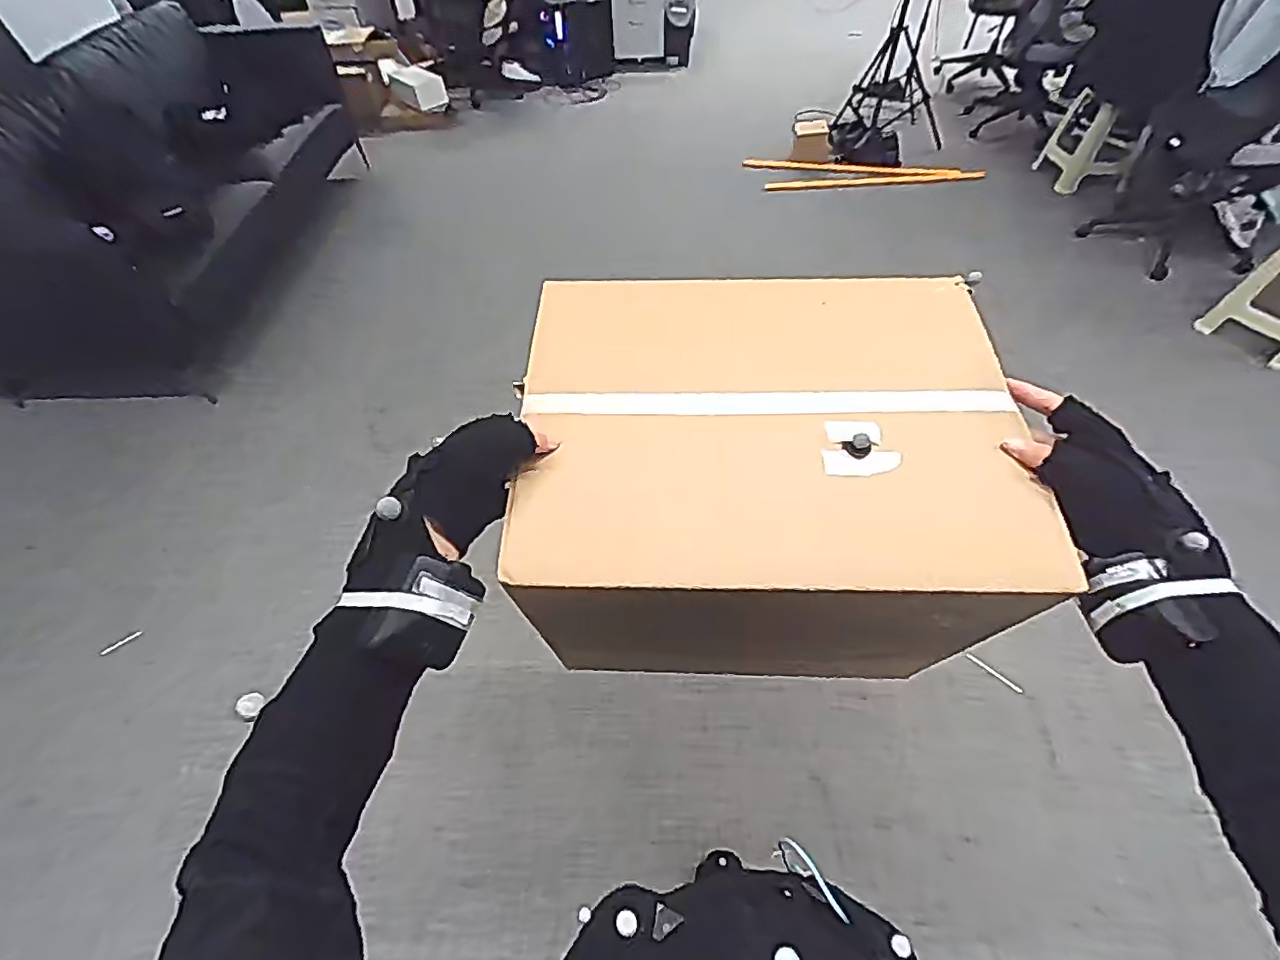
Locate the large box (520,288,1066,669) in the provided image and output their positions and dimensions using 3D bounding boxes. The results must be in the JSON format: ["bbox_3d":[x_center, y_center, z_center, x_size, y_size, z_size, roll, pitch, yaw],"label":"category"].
[{"bbox_3d":[0.111,0.016,0.592,0.408,0.320,0.320,1,60,1],"label":"large box"}]
